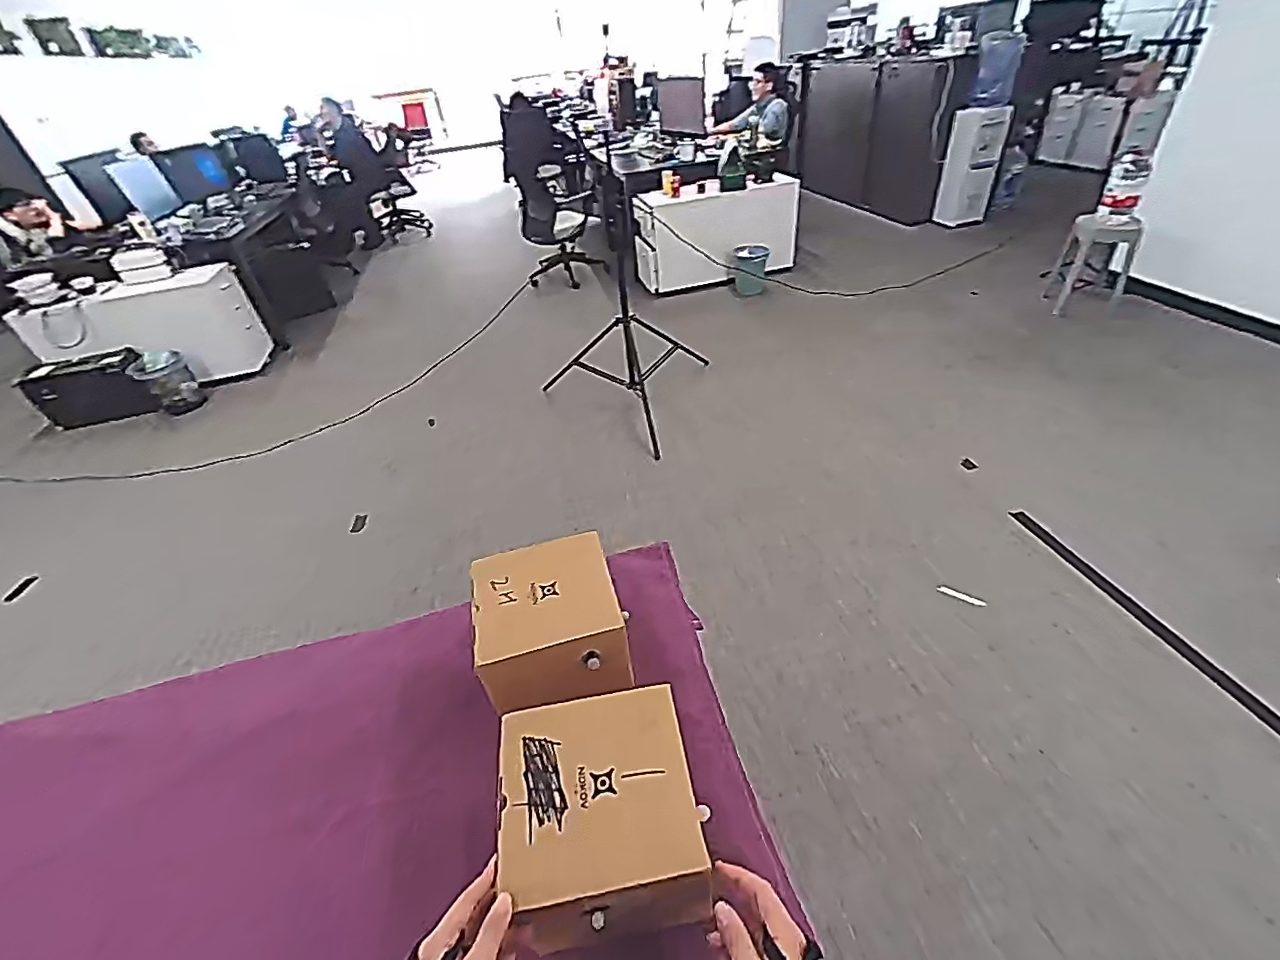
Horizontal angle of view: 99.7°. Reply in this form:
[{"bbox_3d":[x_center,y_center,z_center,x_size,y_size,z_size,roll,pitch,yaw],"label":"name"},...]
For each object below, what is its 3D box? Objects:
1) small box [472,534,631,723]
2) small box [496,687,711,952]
[{"bbox_3d":[-0.114,0.204,0.722,0.179,0.176,0.168,-14,40,-8],"label":"small box"},{"bbox_3d":[-0.033,0.338,0.540,0.179,0.176,0.168,-10,42,-4],"label":"small box"}]
